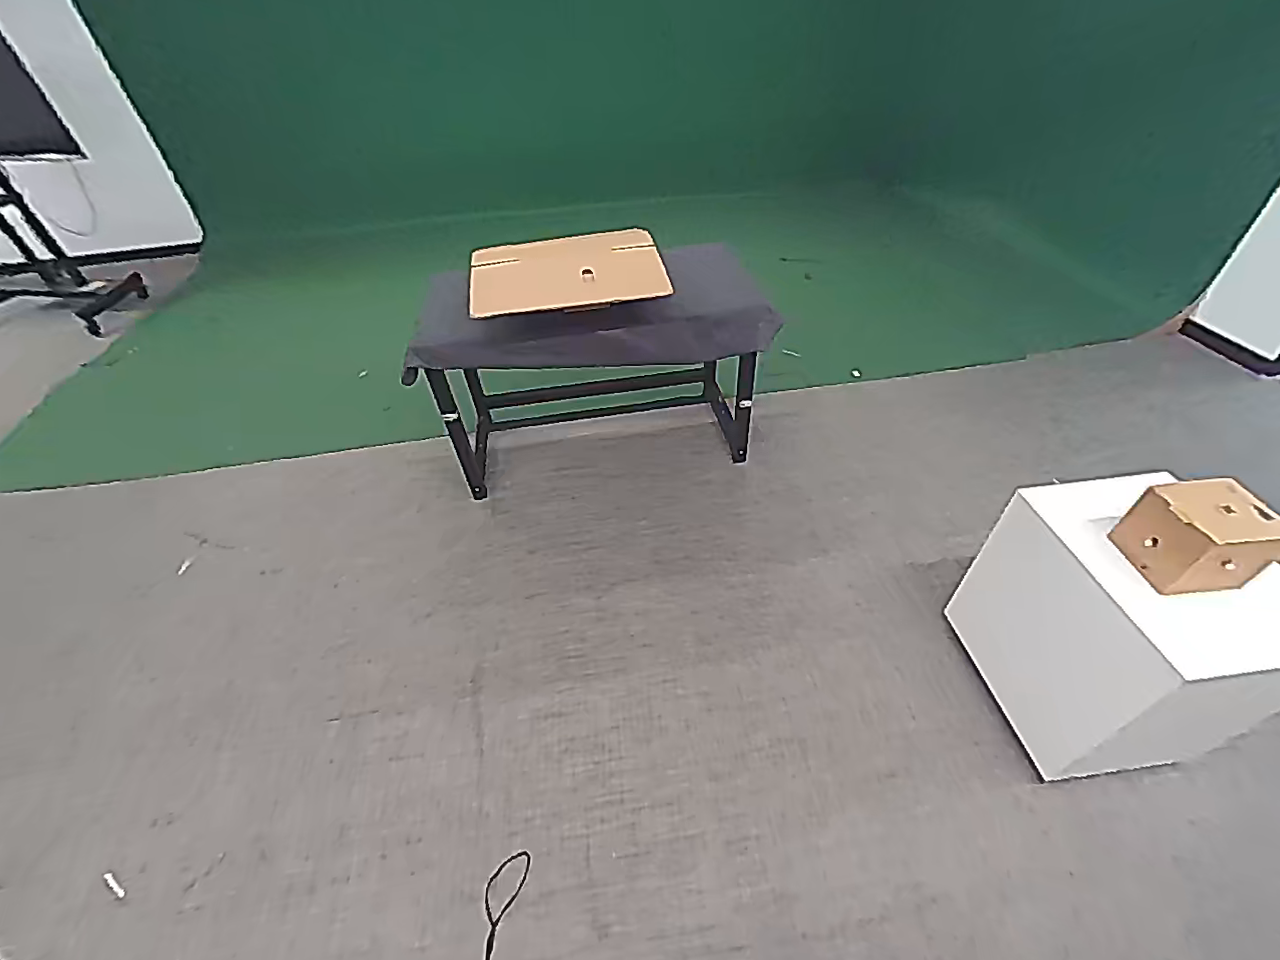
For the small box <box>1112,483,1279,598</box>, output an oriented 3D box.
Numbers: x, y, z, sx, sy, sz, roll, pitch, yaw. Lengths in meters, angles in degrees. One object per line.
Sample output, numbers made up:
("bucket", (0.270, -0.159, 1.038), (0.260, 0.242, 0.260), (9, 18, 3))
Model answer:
("small box", (1.146, 0.129, 1.128), (0.179, 0.176, 0.168), (-6, 43, -4))
